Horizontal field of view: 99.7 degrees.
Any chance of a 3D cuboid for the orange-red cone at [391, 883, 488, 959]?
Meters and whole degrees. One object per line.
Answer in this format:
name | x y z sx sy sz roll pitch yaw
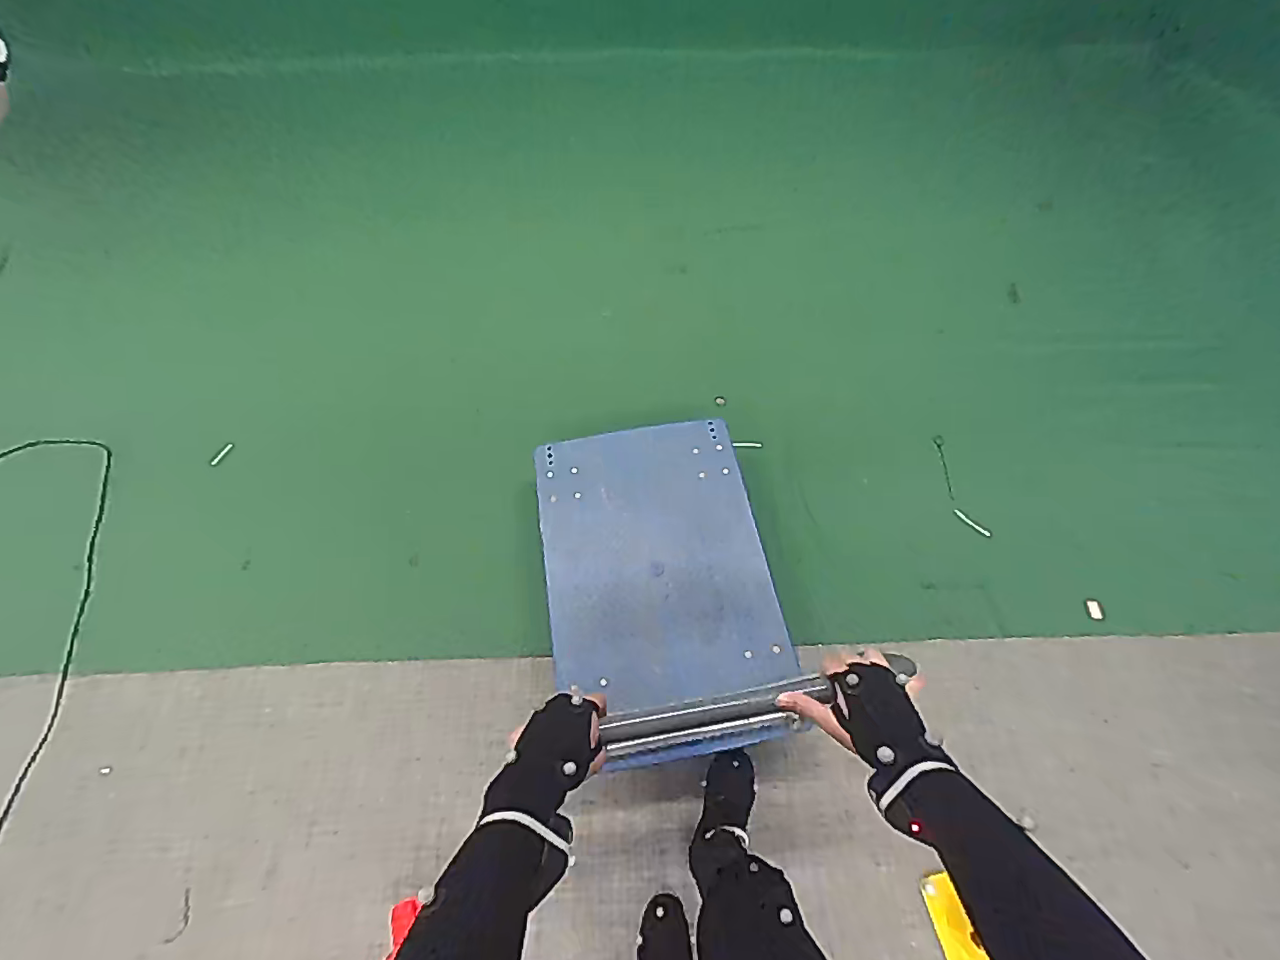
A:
orange-red cone | -0.438 0.935 1.023 0.199 0.360 0.198 -16 62 -6
